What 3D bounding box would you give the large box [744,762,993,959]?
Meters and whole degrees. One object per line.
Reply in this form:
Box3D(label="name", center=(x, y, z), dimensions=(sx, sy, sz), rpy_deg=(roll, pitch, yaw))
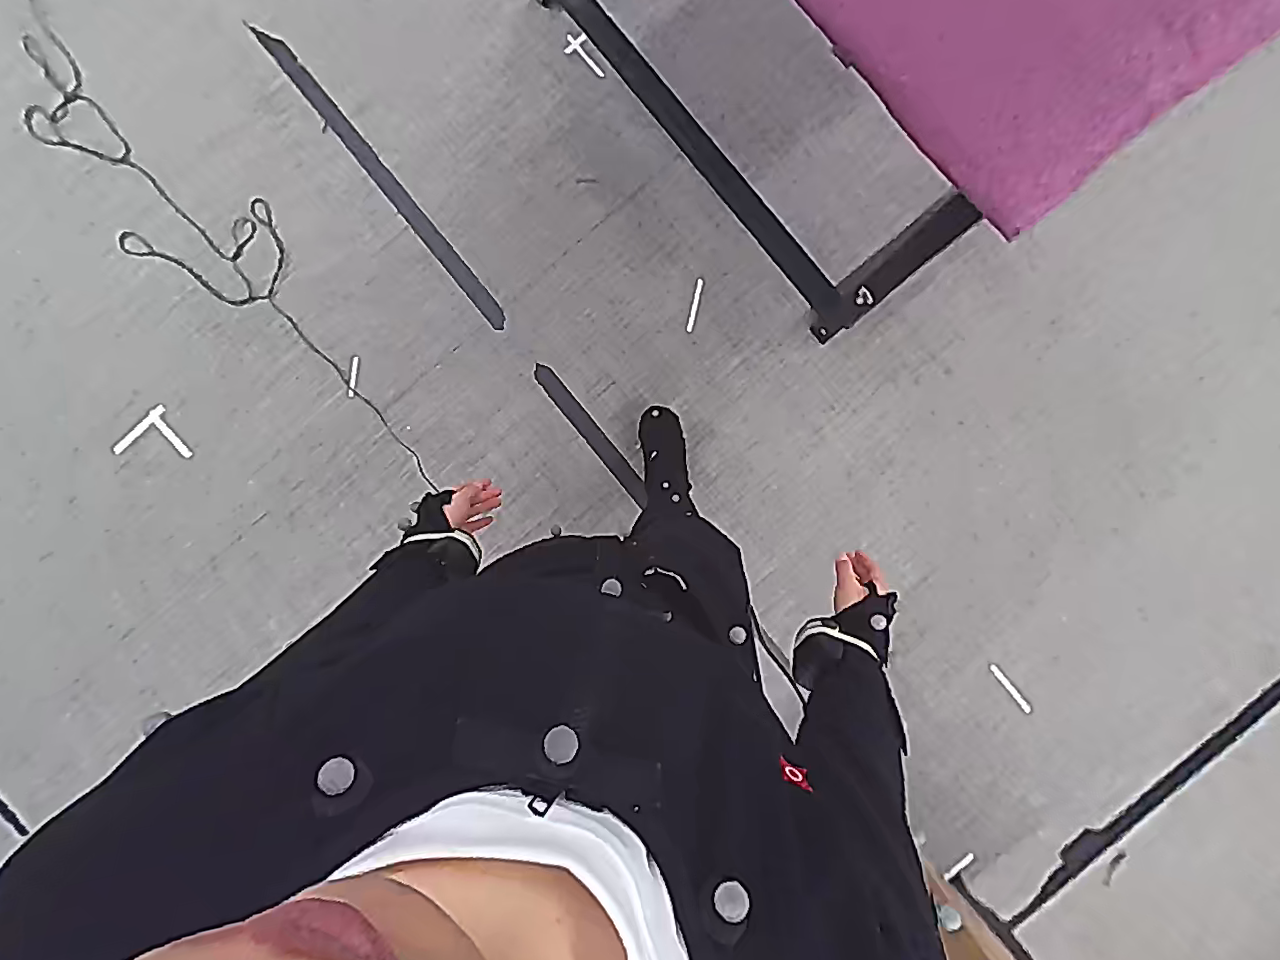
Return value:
Box3D(label="large box", center=(0.500, 0.958, 1.229), dimensions=(0.320, 0.320, 0.408), rpy_deg=(-41, 88, 1))
